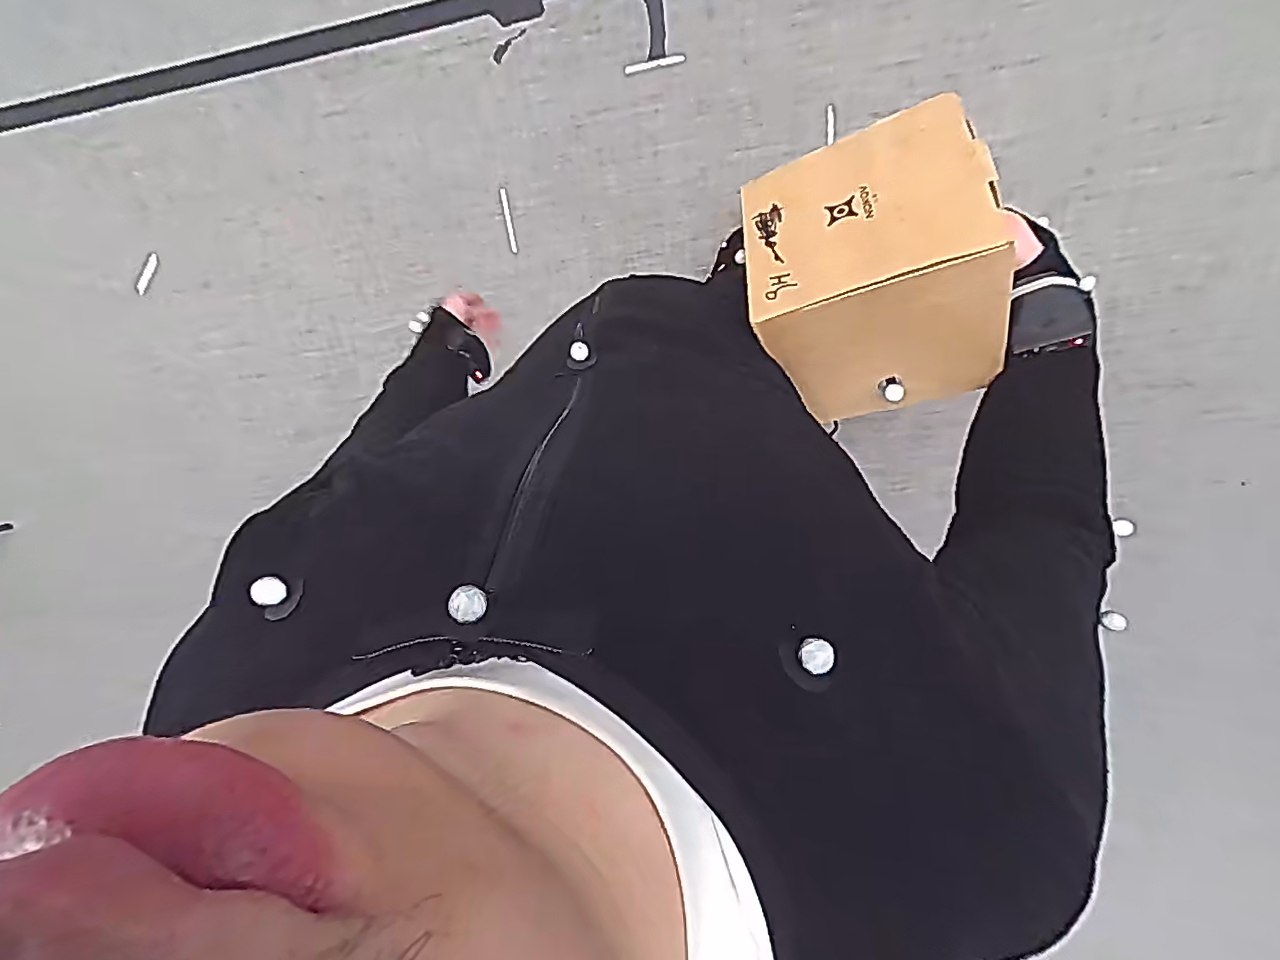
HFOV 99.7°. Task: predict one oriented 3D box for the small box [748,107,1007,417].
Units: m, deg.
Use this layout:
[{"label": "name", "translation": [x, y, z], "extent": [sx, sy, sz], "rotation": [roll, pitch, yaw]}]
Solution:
[{"label": "small box", "translation": [0.211, -0.181, 0.498], "extent": [0.179, 0.168, 0.176], "rotation": [-11, 150, 26]}]
